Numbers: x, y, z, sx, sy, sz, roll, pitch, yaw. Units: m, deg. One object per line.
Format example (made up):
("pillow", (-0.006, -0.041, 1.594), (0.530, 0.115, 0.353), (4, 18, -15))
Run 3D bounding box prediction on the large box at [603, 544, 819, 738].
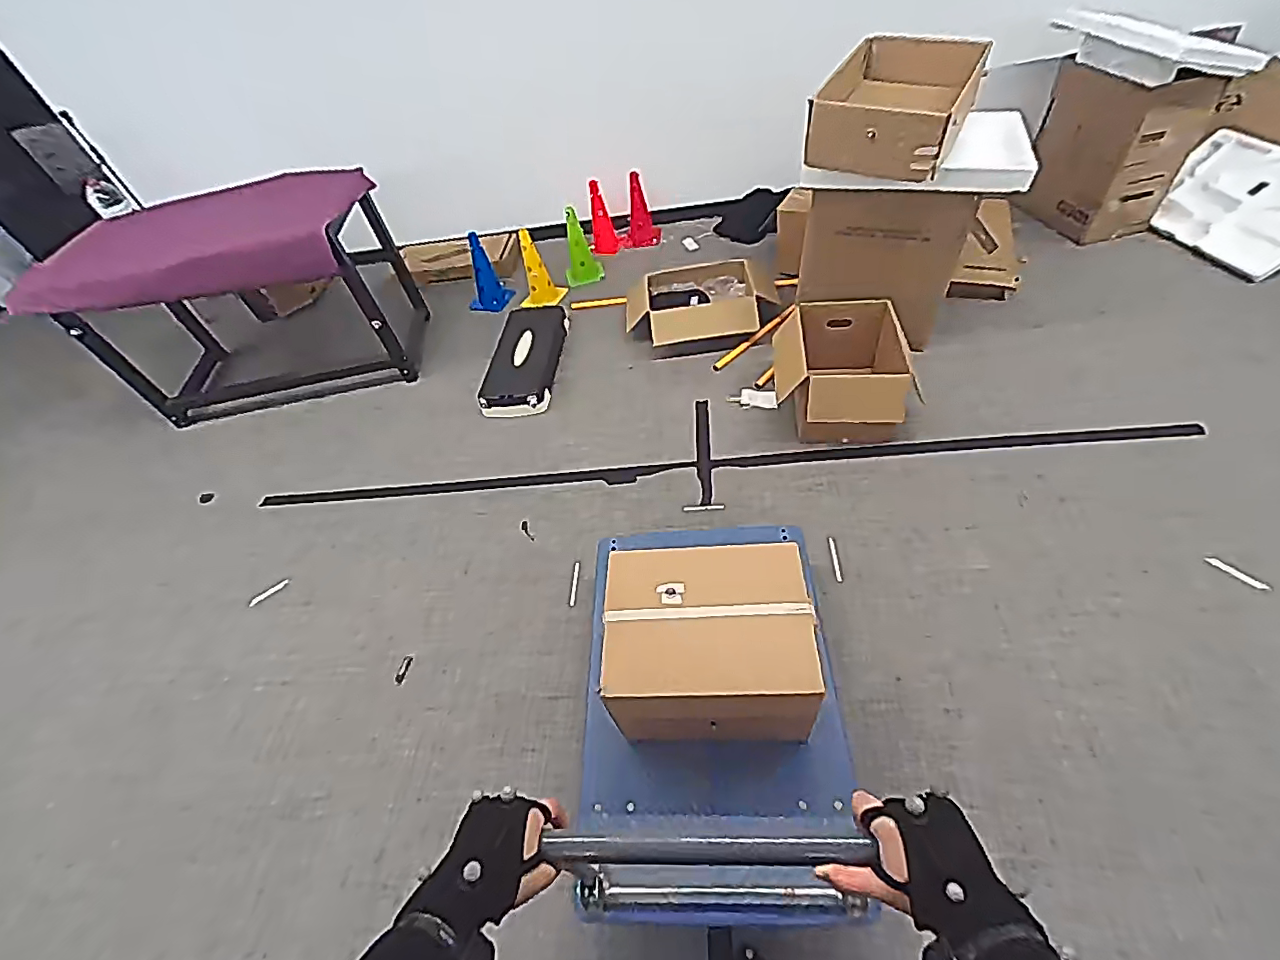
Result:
("large box", (0.152, 0.367, 1.199), (0.408, 0.320, 0.320), (-5, 49, 8))
